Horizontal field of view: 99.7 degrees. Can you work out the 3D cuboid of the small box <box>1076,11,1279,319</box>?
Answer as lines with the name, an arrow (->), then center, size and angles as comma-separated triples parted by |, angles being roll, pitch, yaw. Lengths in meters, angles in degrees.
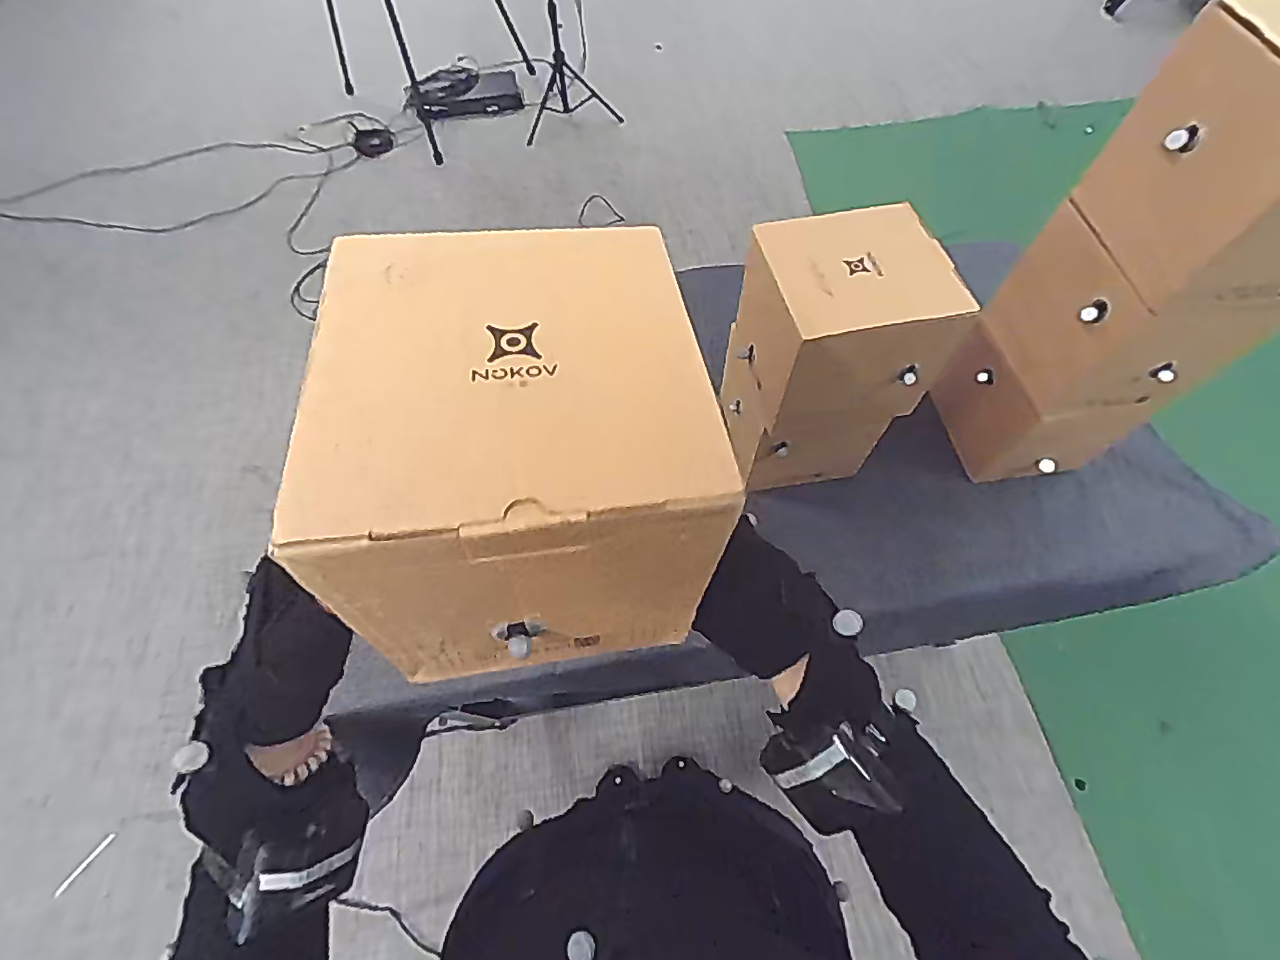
small box -> 0.535, -0.264, 0.463 | 0.168, 0.176, 0.179 | -5, 61, 0

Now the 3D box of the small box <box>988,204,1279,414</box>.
small box -> 0.541, -0.188, 0.609 | 0.168, 0.176, 0.179 | -6, 62, -1

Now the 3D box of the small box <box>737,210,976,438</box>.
small box -> 0.222, -0.168, 0.610 | 0.179, 0.176, 0.168 | -10, 61, -3

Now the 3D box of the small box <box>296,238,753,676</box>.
small box -> -0.058, -0.011, 0.305 | 0.168, 0.176, 0.179 | -7, 56, -10
